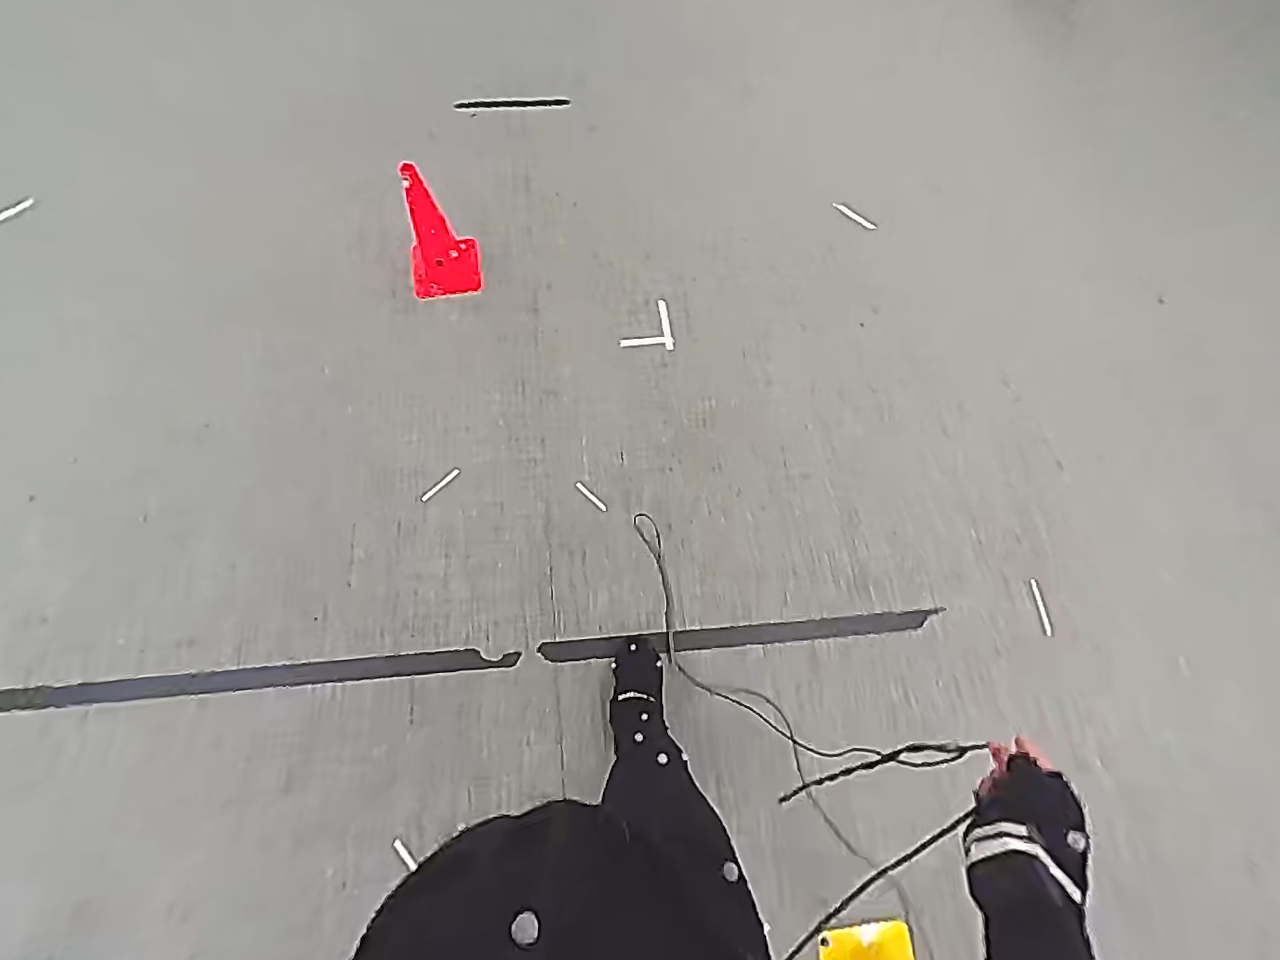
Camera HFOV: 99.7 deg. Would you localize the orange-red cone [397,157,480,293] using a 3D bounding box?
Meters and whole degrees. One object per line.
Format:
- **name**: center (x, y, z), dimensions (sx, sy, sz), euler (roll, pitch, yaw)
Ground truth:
- **orange-red cone**: center (-0.579, -0.709, 1.470), dimensions (0.199, 0.360, 0.198), euler (-8, 71, -5)
